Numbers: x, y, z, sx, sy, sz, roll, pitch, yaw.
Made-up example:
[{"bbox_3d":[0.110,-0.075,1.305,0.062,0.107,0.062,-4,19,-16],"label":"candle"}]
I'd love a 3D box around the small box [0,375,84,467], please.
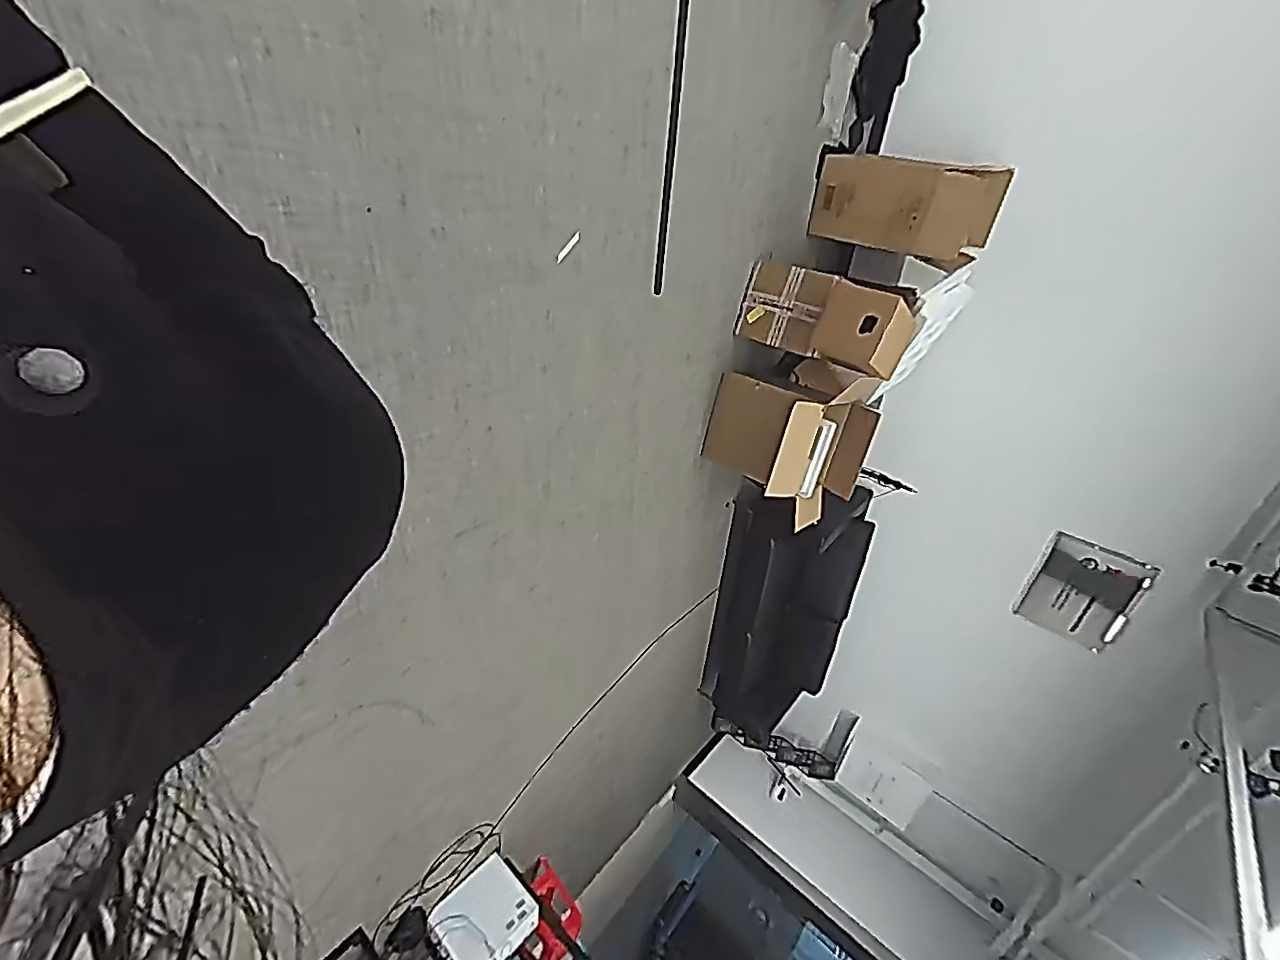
[{"bbox_3d":[-0.923,-0.038,0.768,0.179,0.176,0.168,-28,132,-42],"label":"small box"}]
